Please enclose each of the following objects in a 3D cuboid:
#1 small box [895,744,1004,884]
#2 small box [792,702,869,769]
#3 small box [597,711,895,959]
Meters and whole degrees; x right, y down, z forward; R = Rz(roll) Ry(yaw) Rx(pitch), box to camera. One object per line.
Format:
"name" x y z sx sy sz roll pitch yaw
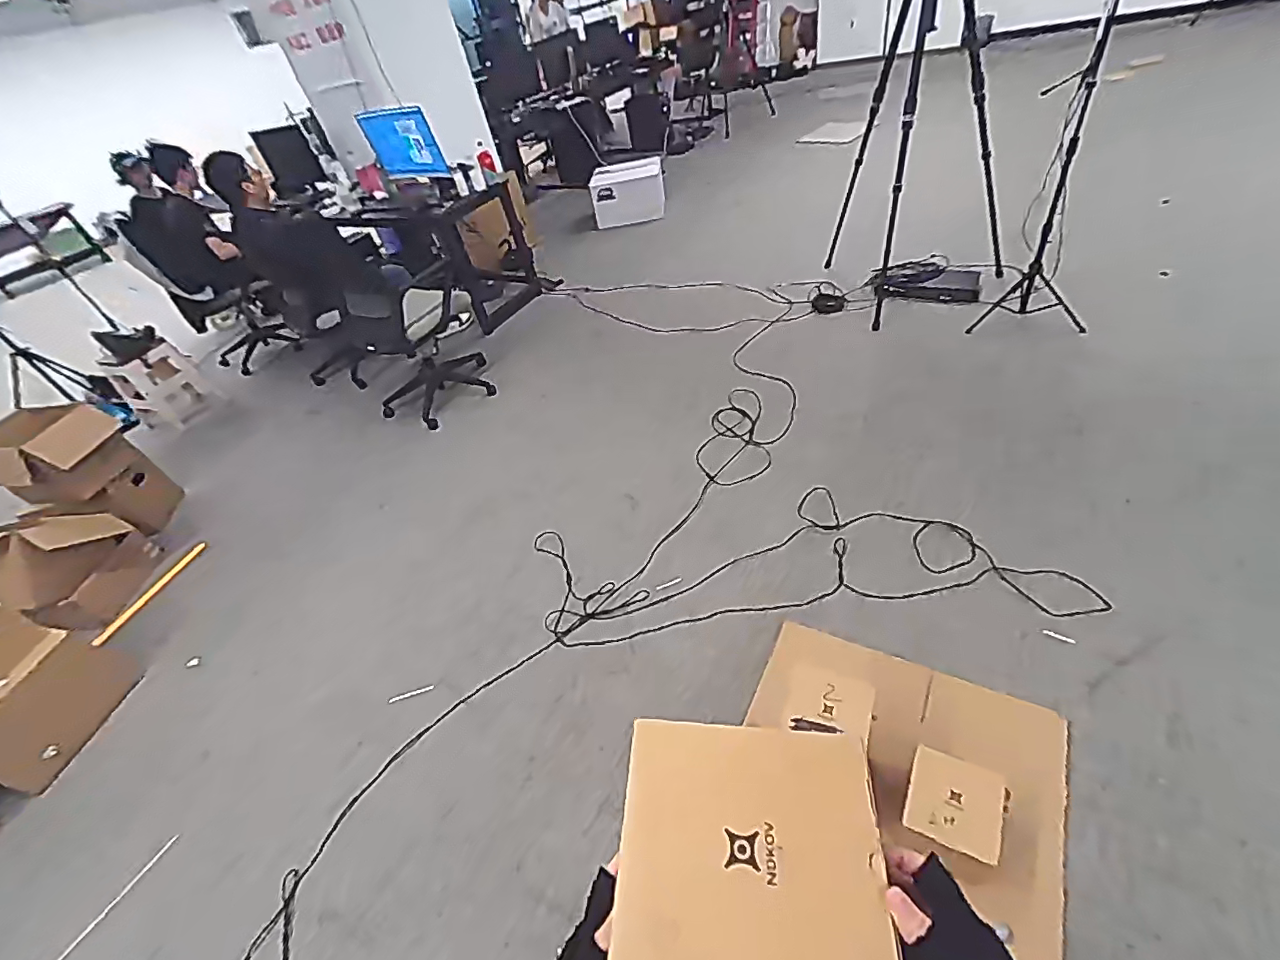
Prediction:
"small box" 0.646 0.703 1.141 0.168 0.176 0.179 13 50 30
"small box" 0.426 0.656 1.252 0.168 0.176 0.179 10 48 26
"small box" 0.075 0.300 0.417 0.179 0.176 0.168 2 44 8
